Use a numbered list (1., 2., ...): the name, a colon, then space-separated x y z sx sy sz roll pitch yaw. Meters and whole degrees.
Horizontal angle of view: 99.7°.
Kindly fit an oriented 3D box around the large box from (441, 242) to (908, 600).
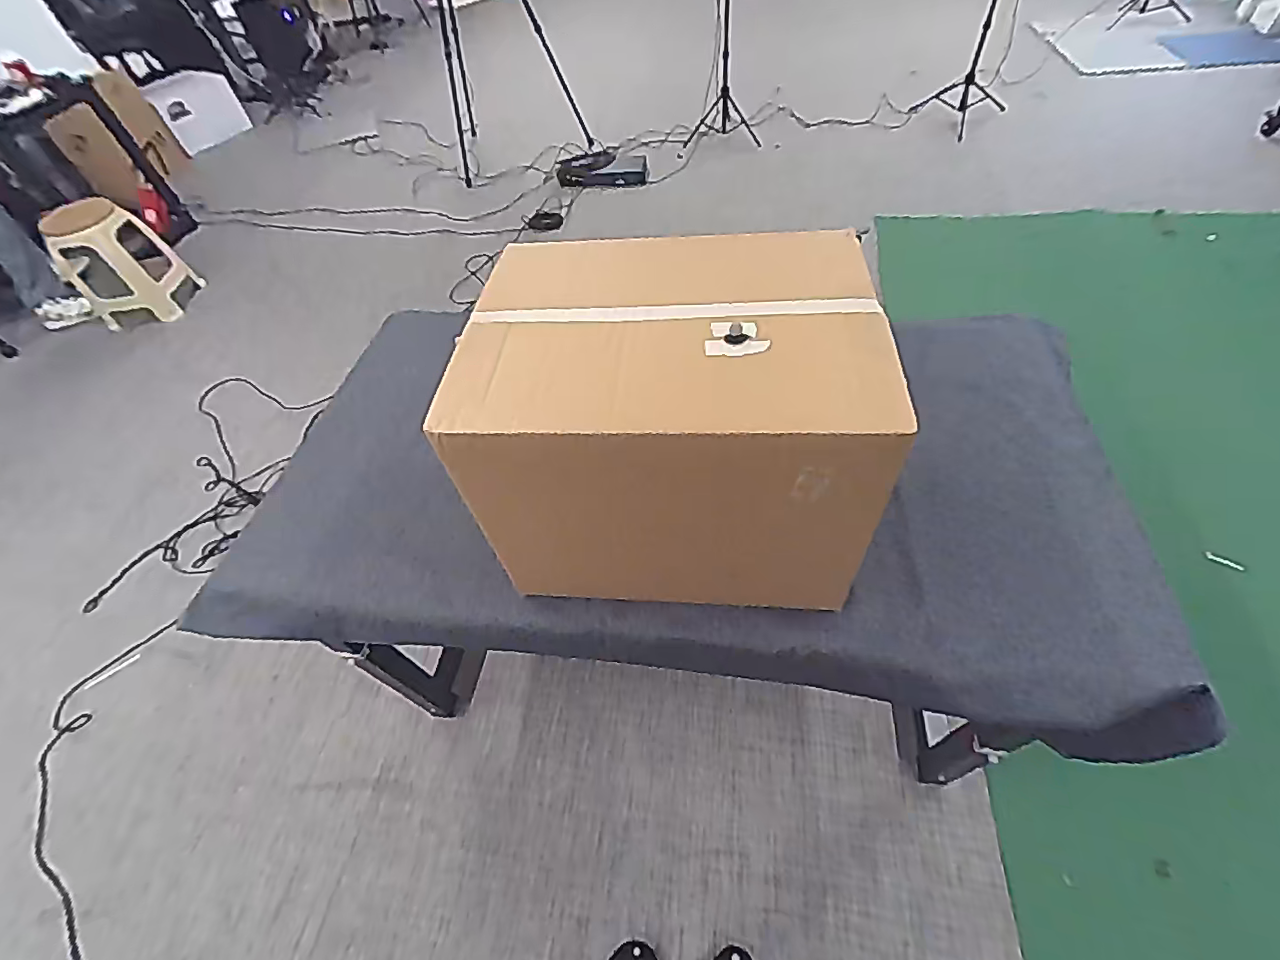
1. large box: 0.041 -0.063 0.659 0.408 0.320 0.320 1 51 7
